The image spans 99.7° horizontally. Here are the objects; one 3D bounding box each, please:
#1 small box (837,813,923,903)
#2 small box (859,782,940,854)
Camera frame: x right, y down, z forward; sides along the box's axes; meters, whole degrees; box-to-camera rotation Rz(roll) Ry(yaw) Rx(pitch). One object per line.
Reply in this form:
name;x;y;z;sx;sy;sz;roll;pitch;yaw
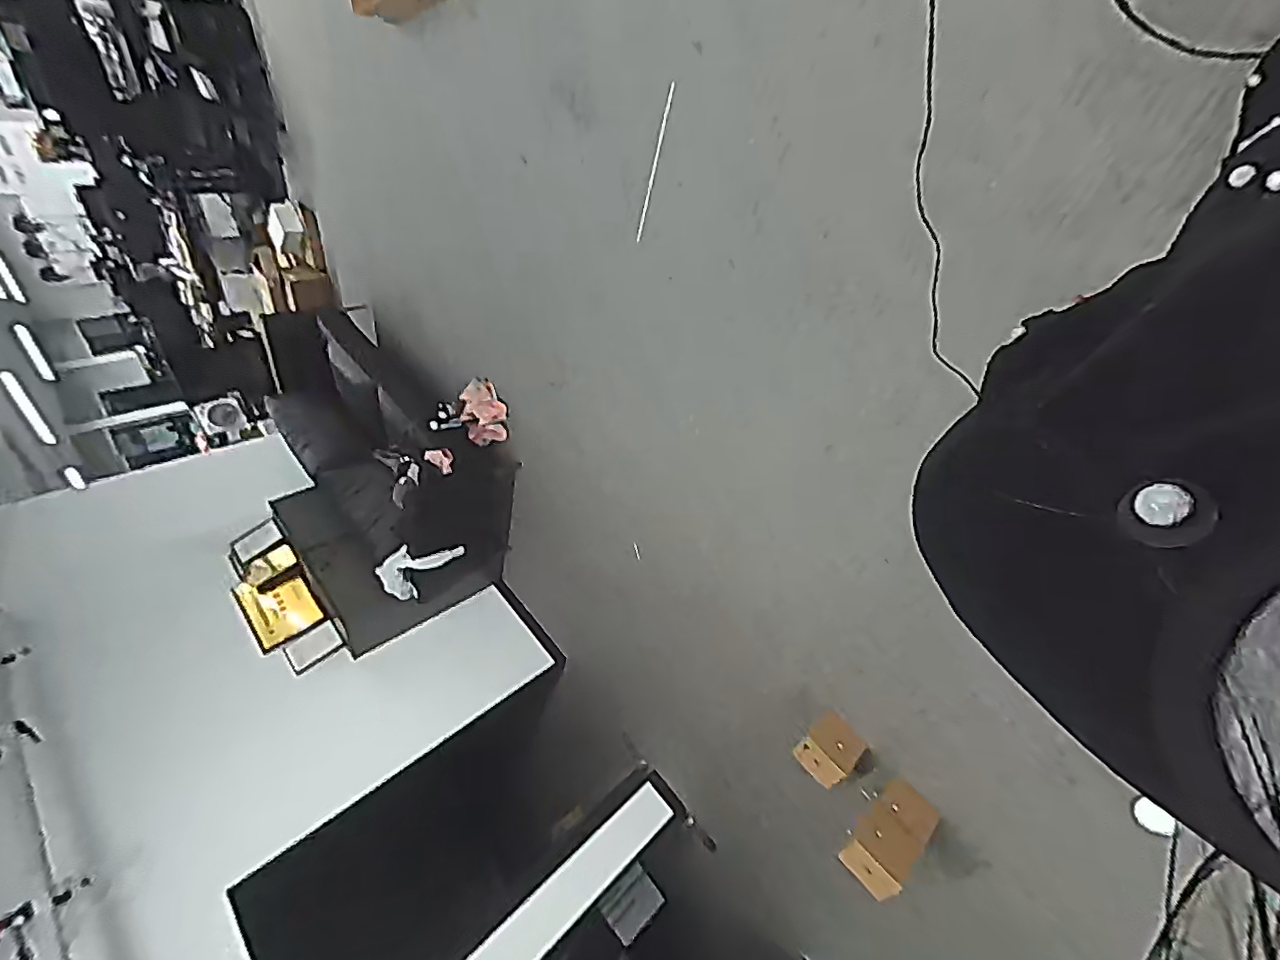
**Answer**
small box;0.811;1.264;1.824;0.179;0.176;0.168;40;136;27
small box;0.927;1.219;1.930;0.179;0.176;0.168;40;136;27
